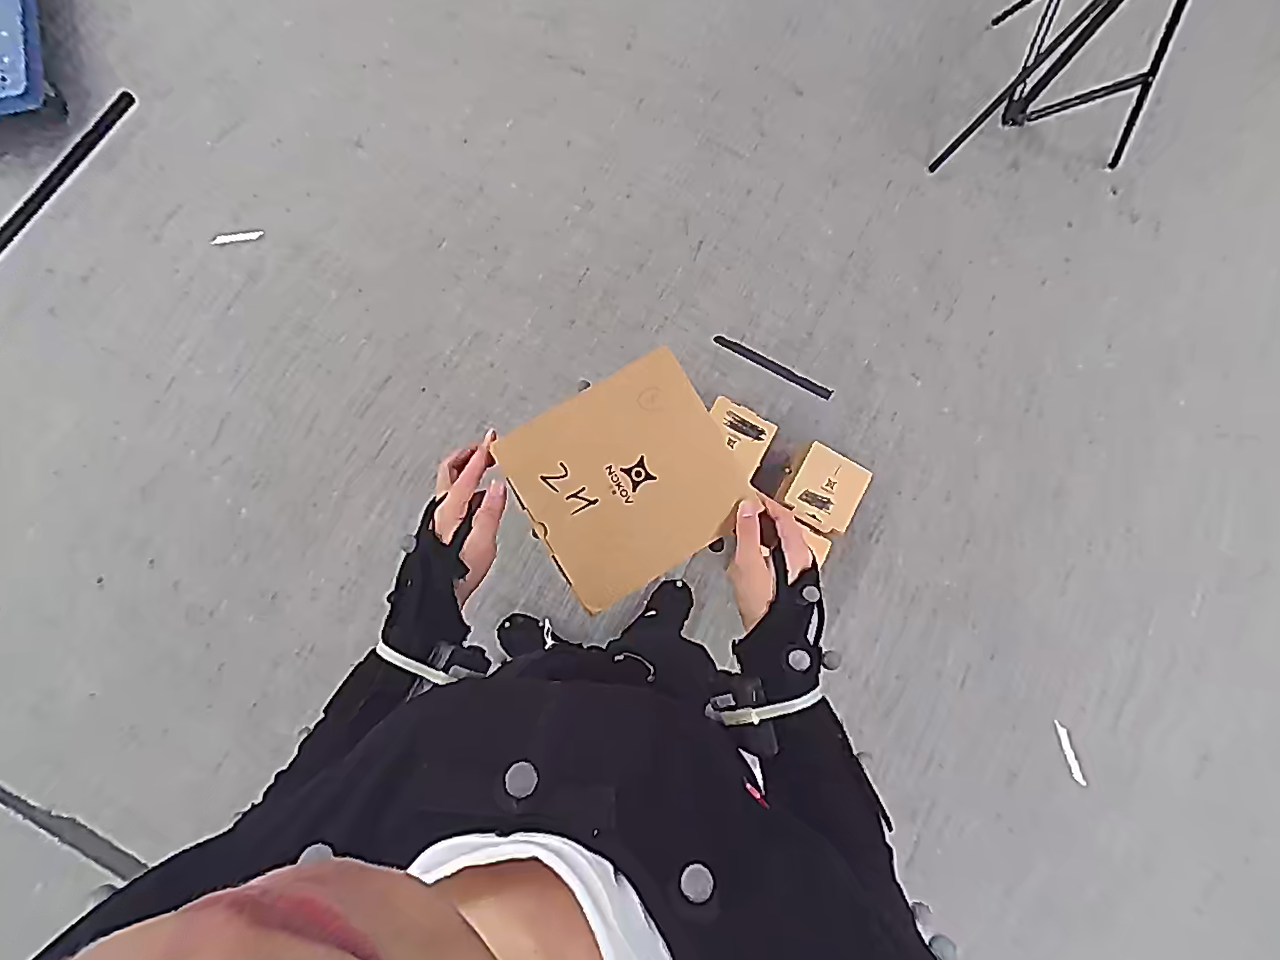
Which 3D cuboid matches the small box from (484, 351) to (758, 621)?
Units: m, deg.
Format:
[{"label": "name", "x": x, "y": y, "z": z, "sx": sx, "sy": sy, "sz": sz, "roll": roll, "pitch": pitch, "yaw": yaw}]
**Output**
[{"label": "small box", "x": -0.021, "y": 0.005, "z": 0.520, "sx": 0.179, "sy": 0.176, "sz": 0.168, "roll": -31, "pitch": 91, "yaw": -5}]
